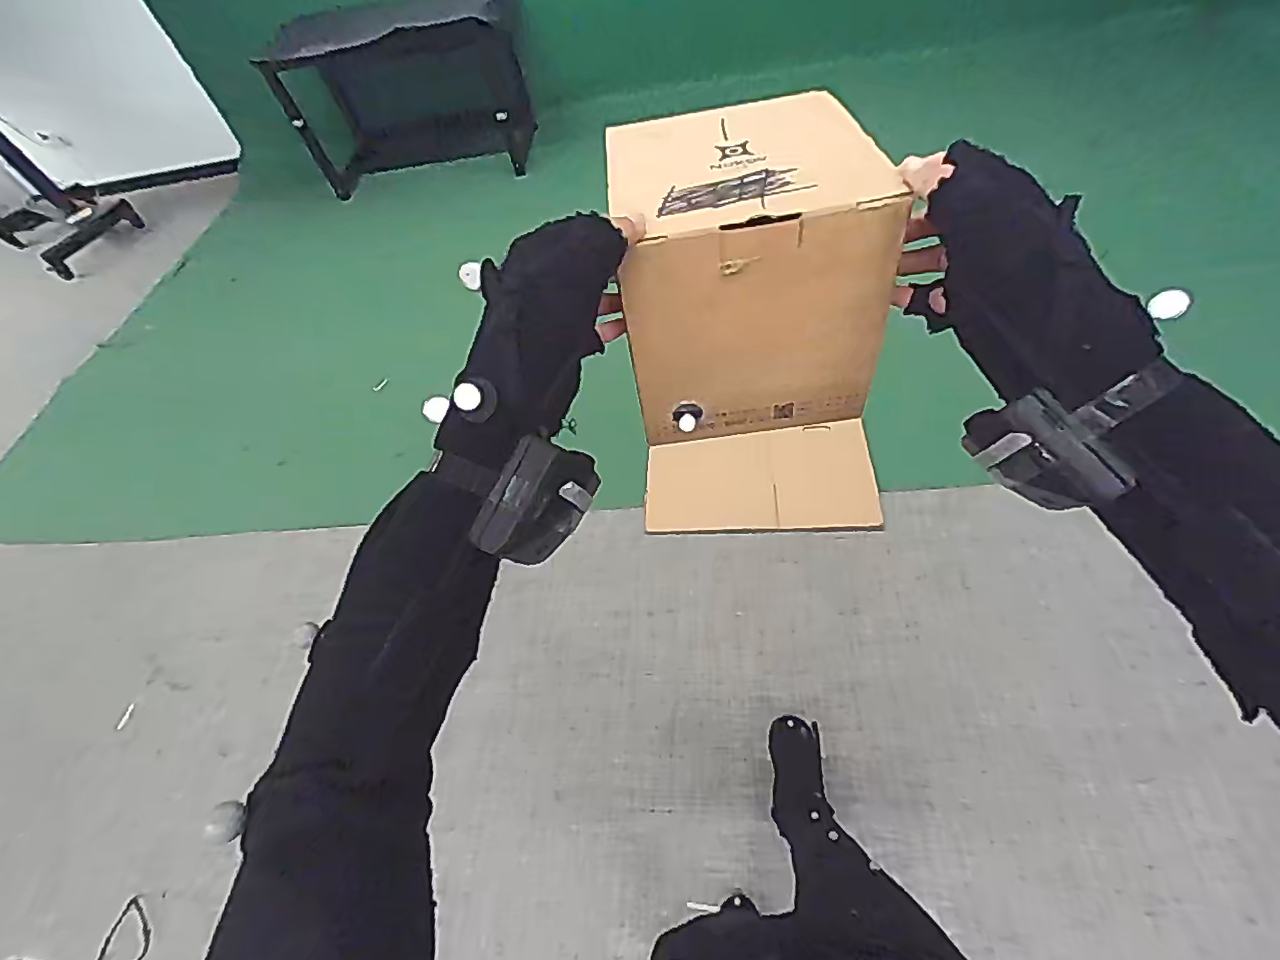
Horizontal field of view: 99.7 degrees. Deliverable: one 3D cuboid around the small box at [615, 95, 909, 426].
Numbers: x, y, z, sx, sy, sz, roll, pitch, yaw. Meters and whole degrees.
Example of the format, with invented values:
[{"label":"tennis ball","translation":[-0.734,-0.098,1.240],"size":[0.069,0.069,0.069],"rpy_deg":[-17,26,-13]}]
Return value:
[{"label":"small box","translation":[0.076,-0.156,0.413],"size":[0.168,0.176,0.179],"rpy_deg":[-7,50,4]}]
